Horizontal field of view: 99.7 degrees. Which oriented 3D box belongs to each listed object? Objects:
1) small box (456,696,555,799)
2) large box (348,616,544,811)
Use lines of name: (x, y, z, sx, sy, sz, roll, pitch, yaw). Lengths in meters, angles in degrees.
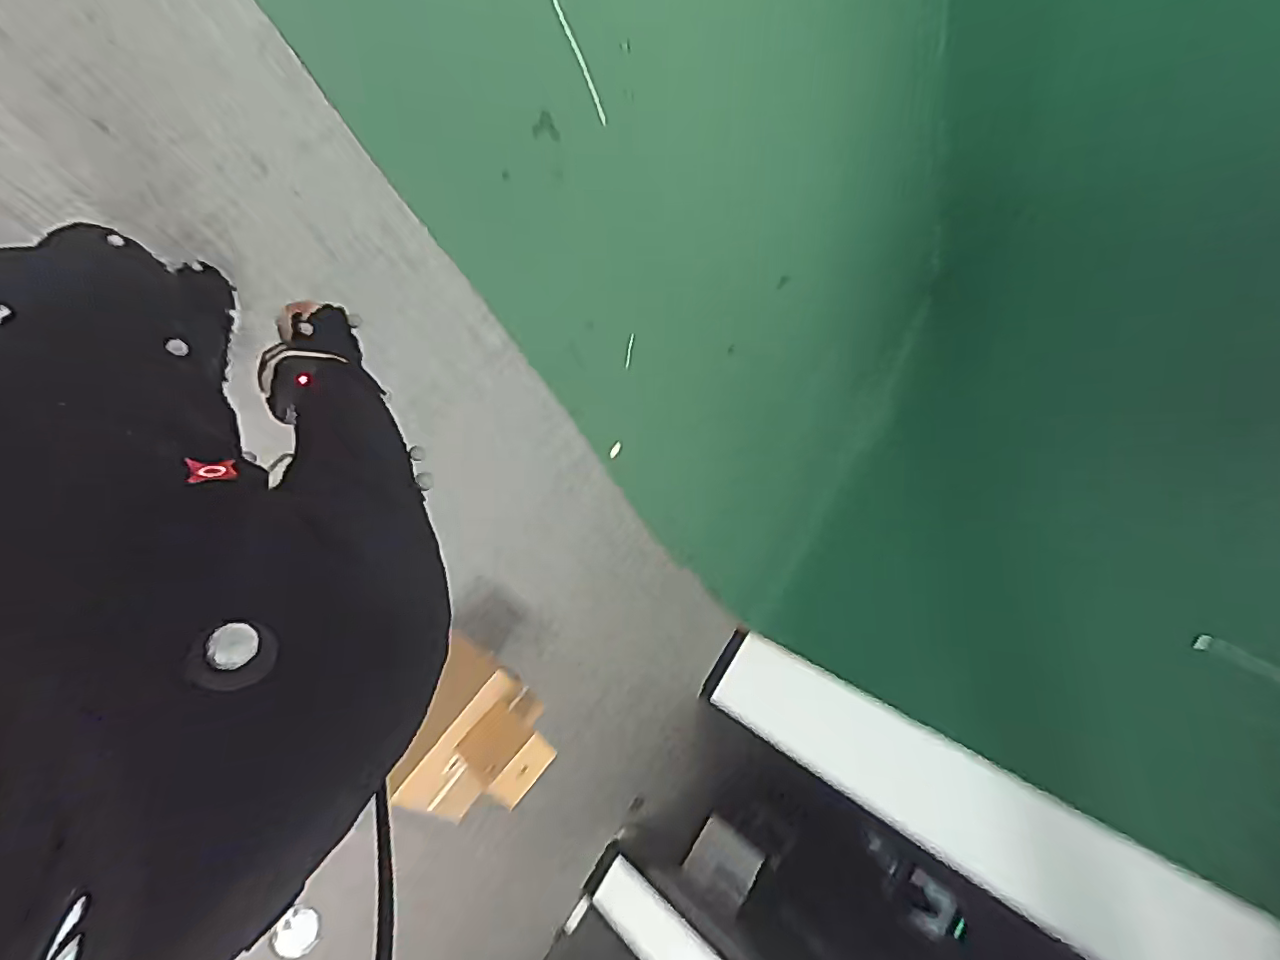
small box: (-0.378, 0.747, 1.524, 0.179, 0.176, 0.168, -46, 138, -24)
large box: (-0.582, 0.702, 1.656, 0.408, 0.320, 0.320, -50, 138, -20)
